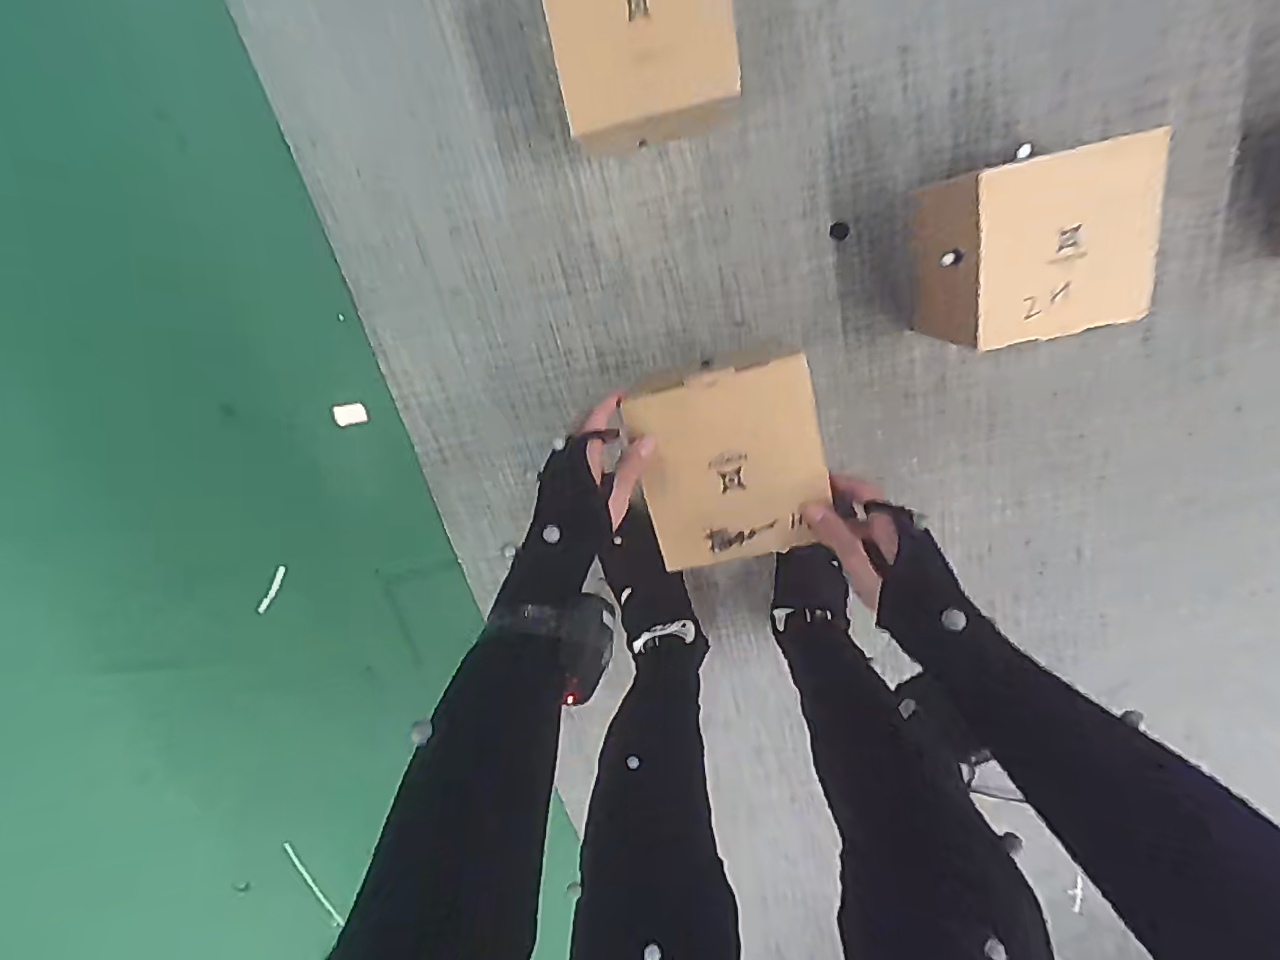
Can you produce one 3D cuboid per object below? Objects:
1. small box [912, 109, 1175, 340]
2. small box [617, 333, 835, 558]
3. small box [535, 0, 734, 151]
[{"bbox_3d":[0.414,-0.265,0.589,0.168,0.176,0.179,-10,111,8],"label":"small box"},{"bbox_3d":[0.086,-0.046,0.554,0.168,0.176,0.179,-13,107,11],"label":"small box"},{"bbox_3d":[-0.007,-0.454,0.536,0.168,0.176,0.179,-9,112,8],"label":"small box"}]
